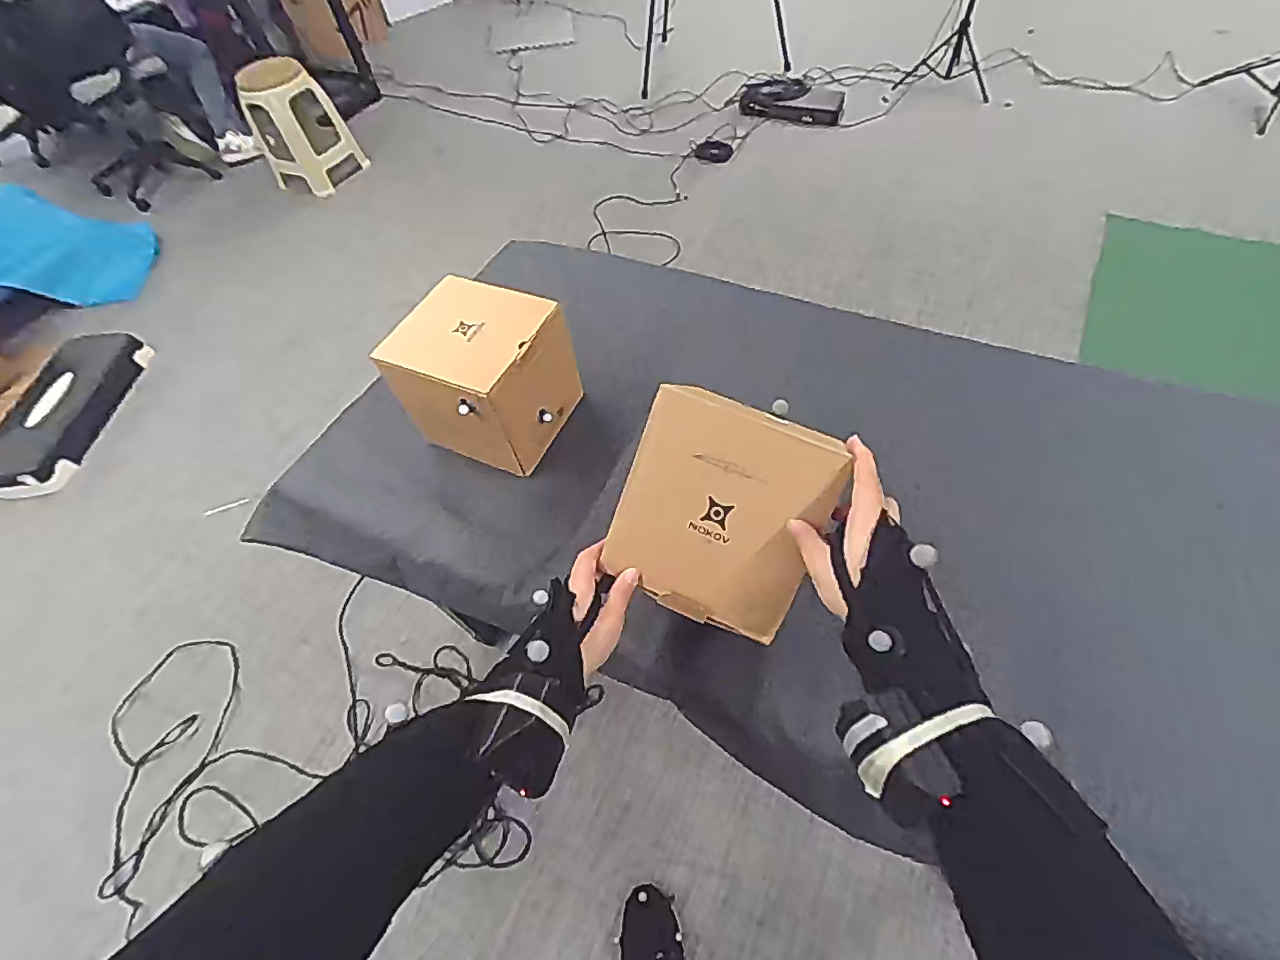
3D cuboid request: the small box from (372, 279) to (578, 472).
[{"bbox_3d":[-0.204,-0.135,0.721,0.179,0.176,0.168,19,60,16],"label":"small box"}]
